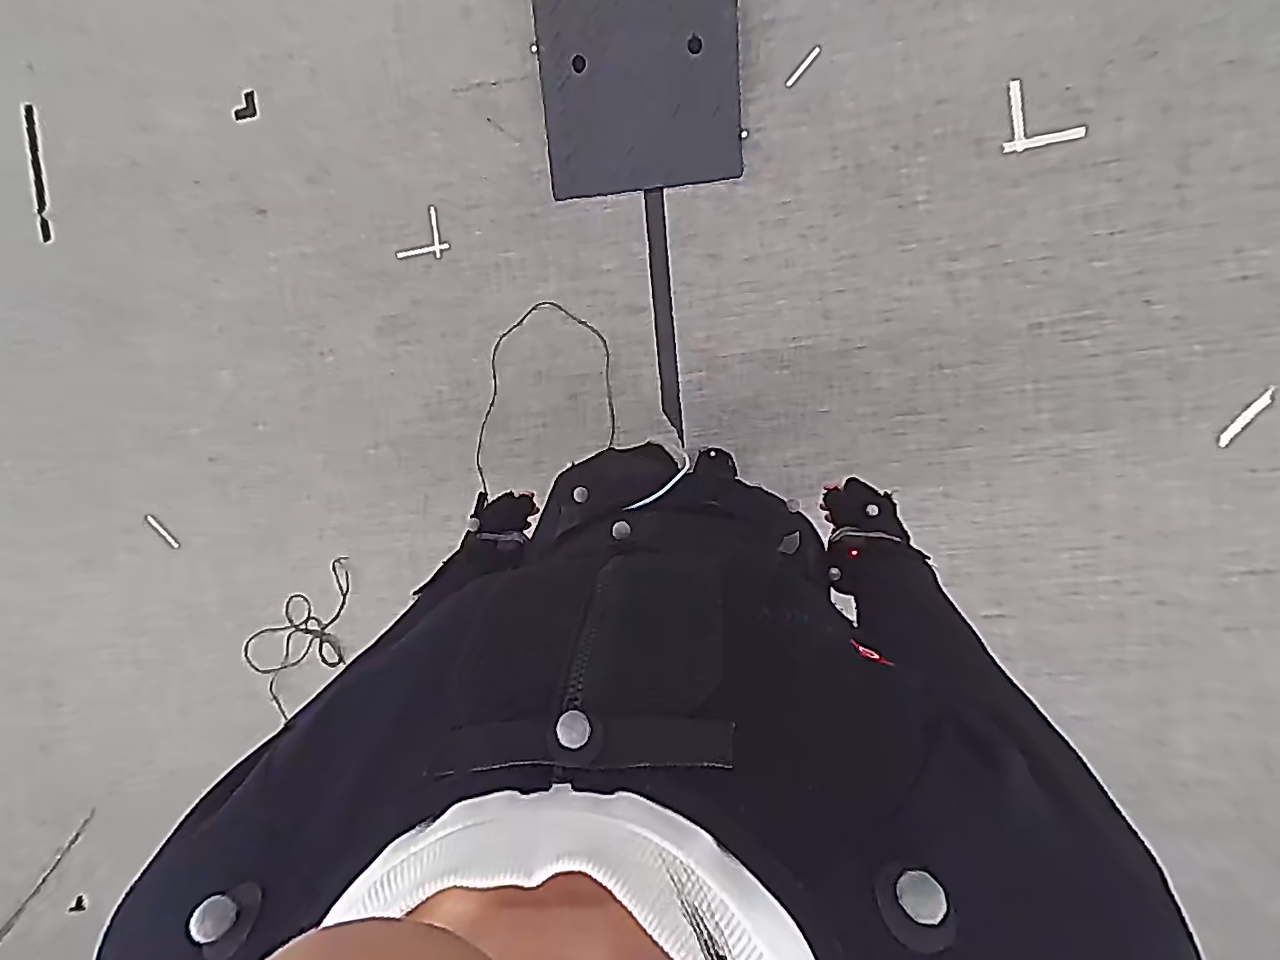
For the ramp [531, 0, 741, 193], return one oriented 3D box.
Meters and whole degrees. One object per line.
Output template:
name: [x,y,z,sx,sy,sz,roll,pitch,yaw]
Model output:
ramp: [-0.027,-1.240,1.254,0.509,0.206,0.991,-4,95,7]
